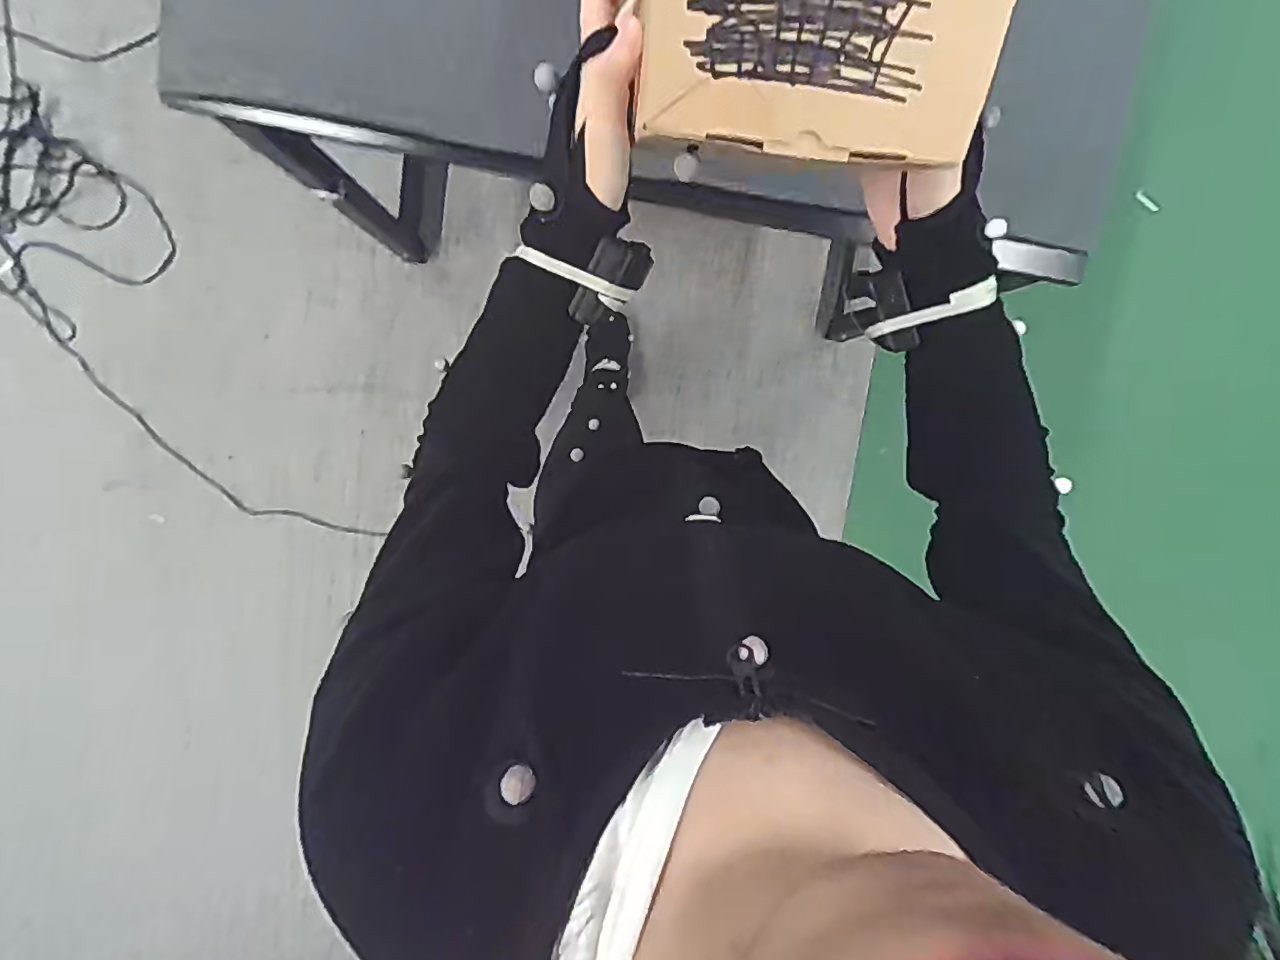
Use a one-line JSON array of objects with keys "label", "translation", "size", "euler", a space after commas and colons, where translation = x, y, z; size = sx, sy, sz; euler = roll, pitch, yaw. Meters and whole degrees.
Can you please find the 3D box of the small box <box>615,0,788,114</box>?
[{"label": "small box", "translation": [0.062, -0.546, 0.587], "size": [0.168, 0.176, 0.179], "euler": [5, 95, -4]}]
